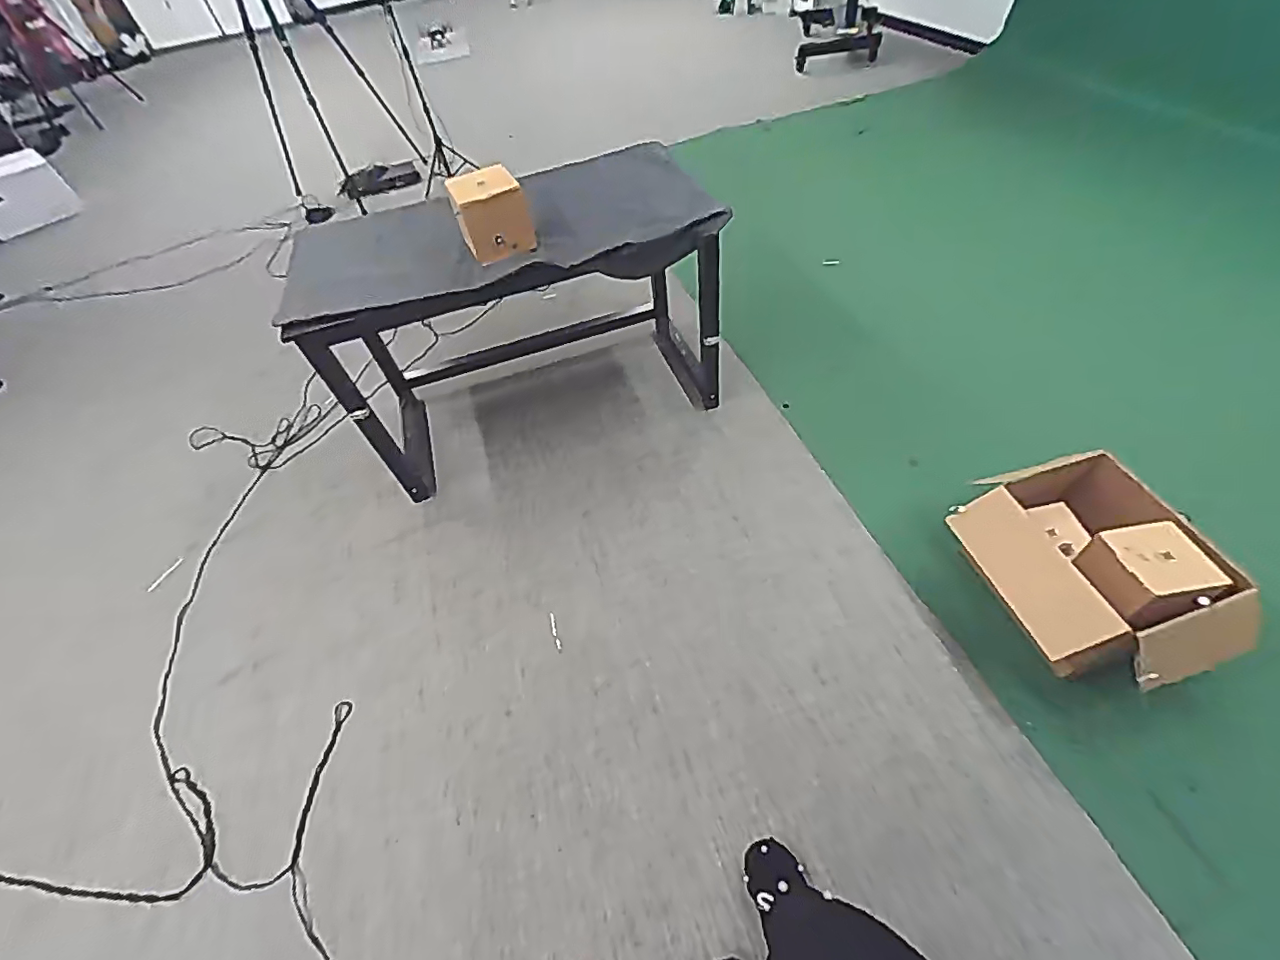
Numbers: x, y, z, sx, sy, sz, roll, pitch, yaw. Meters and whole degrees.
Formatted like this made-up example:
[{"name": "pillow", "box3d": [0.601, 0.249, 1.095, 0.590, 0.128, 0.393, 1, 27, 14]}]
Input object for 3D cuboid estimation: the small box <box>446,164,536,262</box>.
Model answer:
[{"name": "small box", "box3d": [-0.400, -0.720, 1.461, 0.168, 0.176, 0.179, -24, 53, -12]}]
